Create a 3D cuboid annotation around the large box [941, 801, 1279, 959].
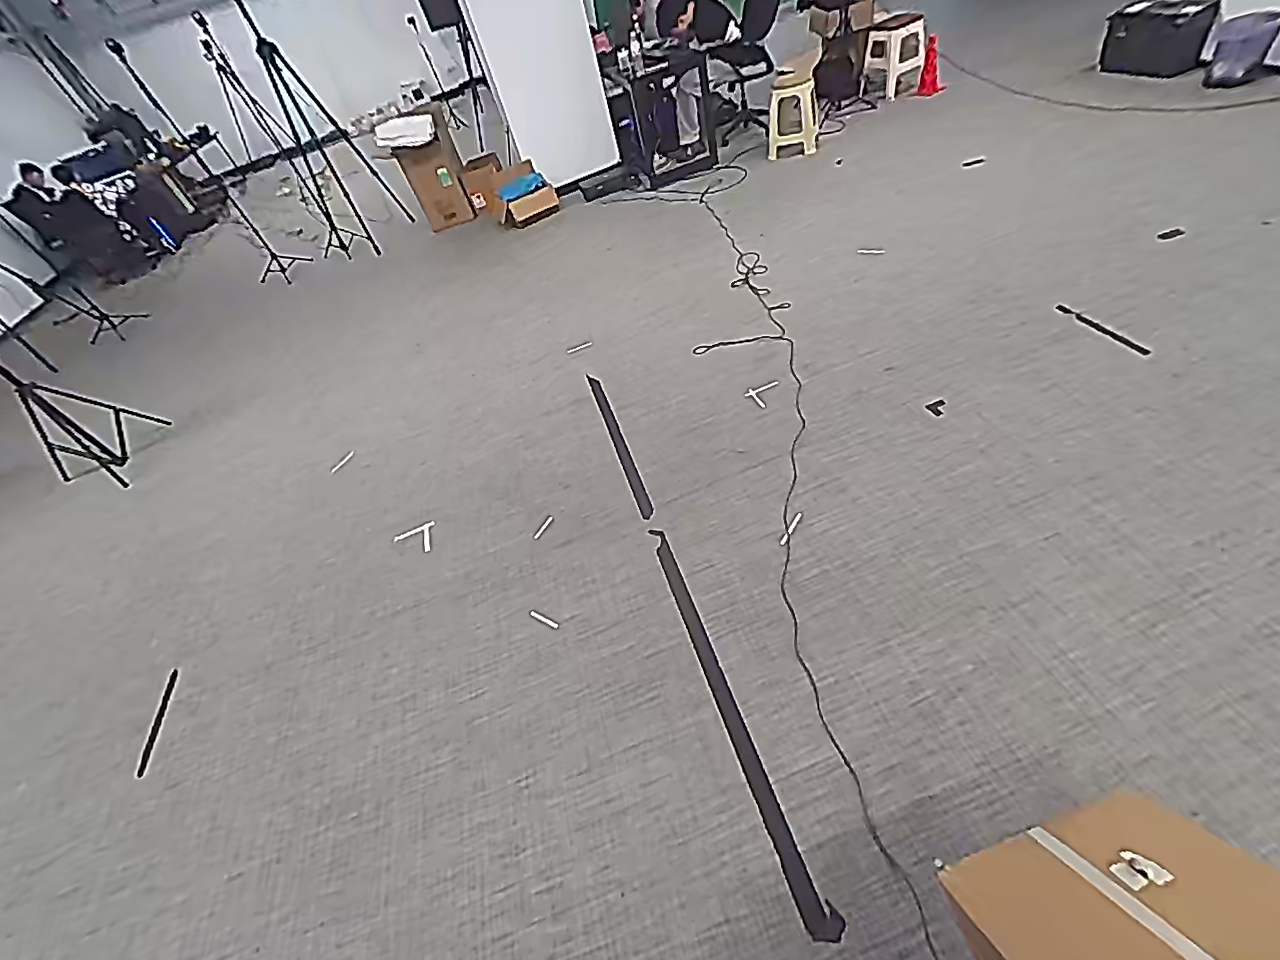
[{"bbox_3d":[0.634,0.644,0.581,0.320,0.408,0.320,-22,83,-1],"label":"large box"}]
